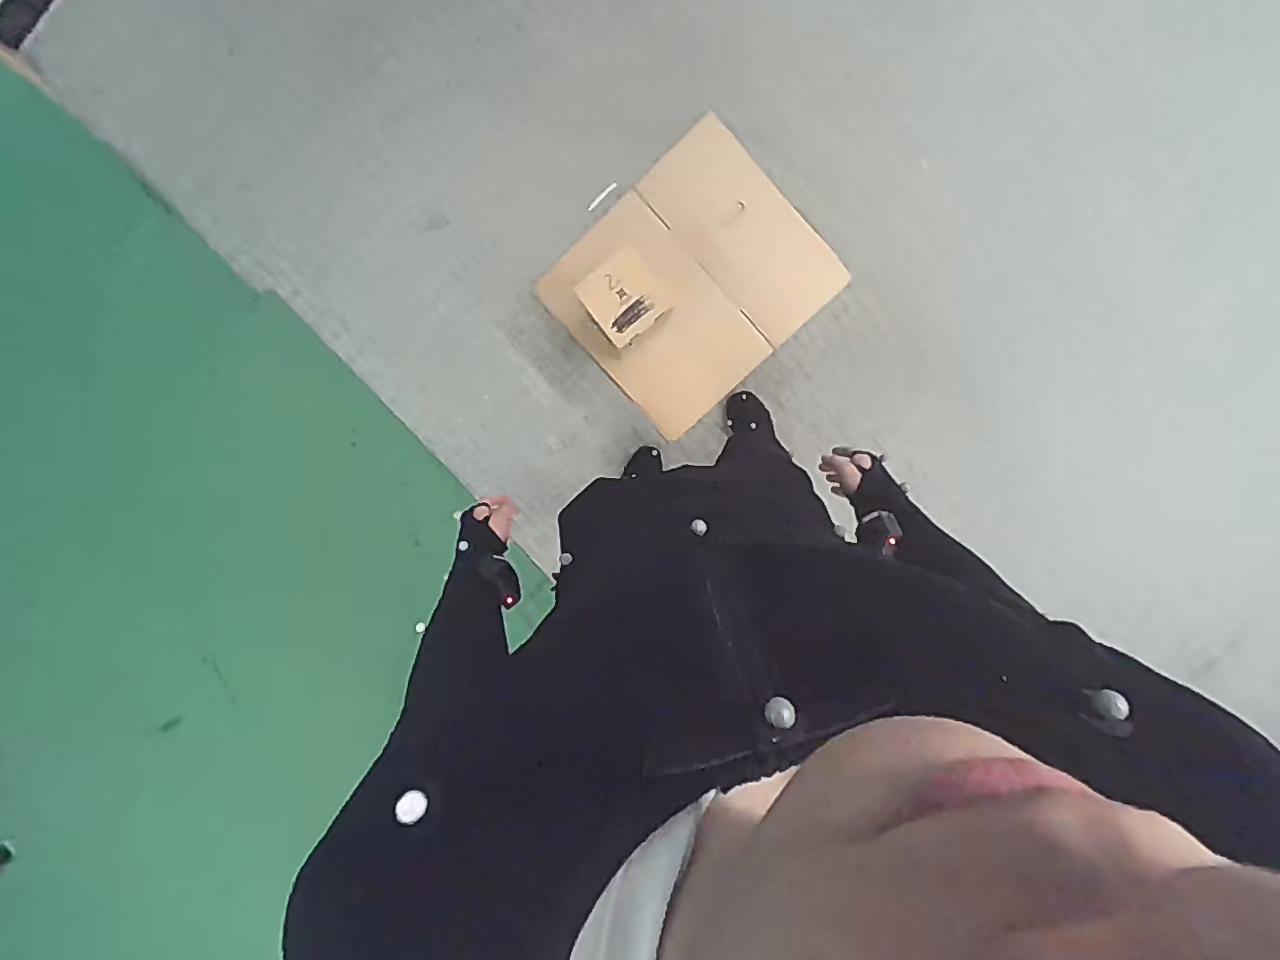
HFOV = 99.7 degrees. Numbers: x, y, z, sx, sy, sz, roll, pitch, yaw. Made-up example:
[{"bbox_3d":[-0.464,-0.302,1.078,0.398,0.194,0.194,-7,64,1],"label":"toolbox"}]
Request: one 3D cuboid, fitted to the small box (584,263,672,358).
[{"bbox_3d":[-0.026,-0.452,1.478,0.179,0.176,0.168,-38,95,5],"label":"small box"}]
